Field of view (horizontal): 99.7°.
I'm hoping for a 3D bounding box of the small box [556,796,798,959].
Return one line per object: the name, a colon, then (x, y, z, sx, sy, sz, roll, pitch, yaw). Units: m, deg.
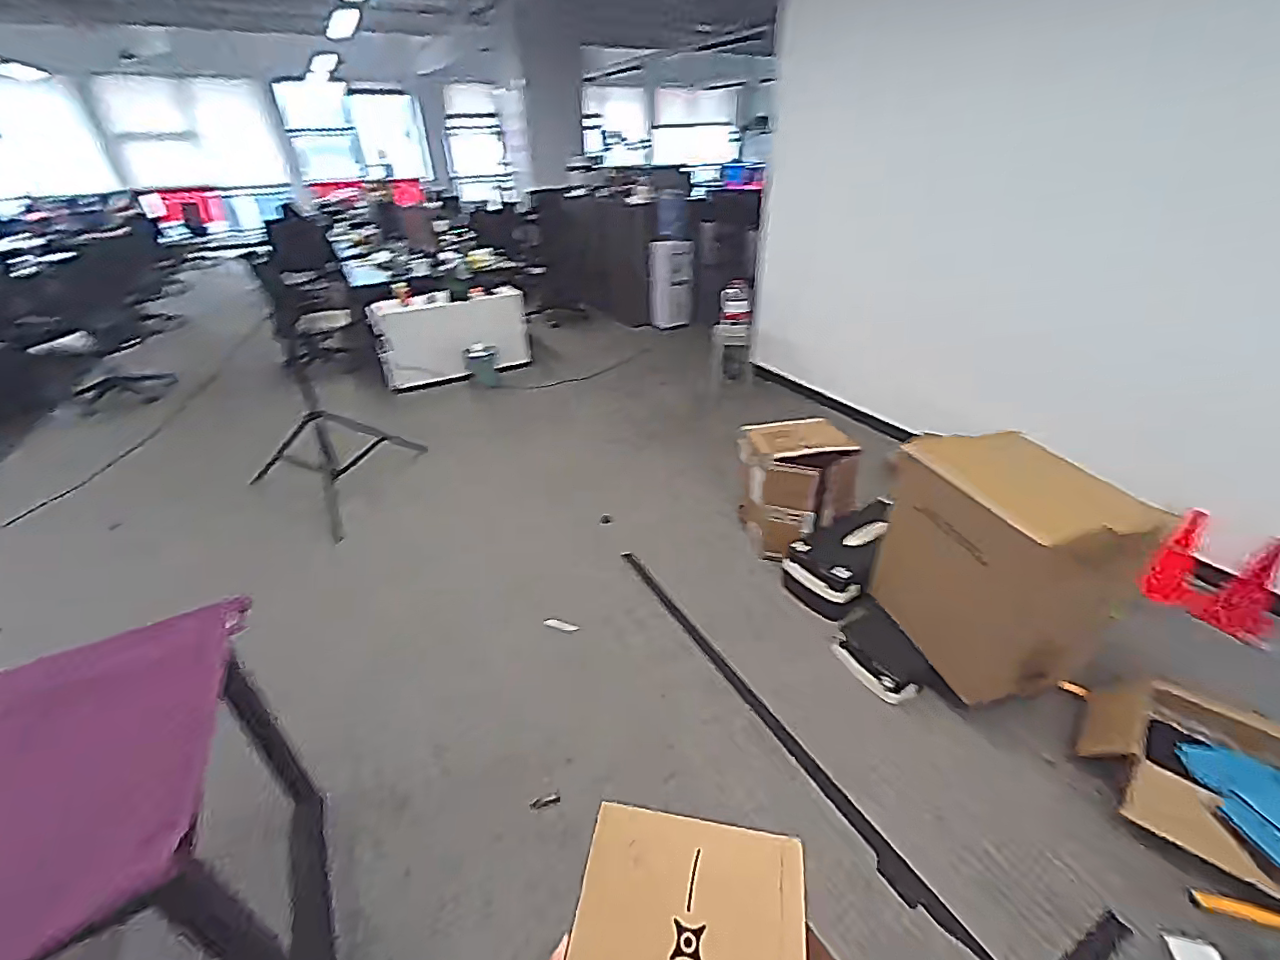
small box: (0.031, 0.387, 0.422, 0.168, 0.176, 0.179, 5, 39, 11)
